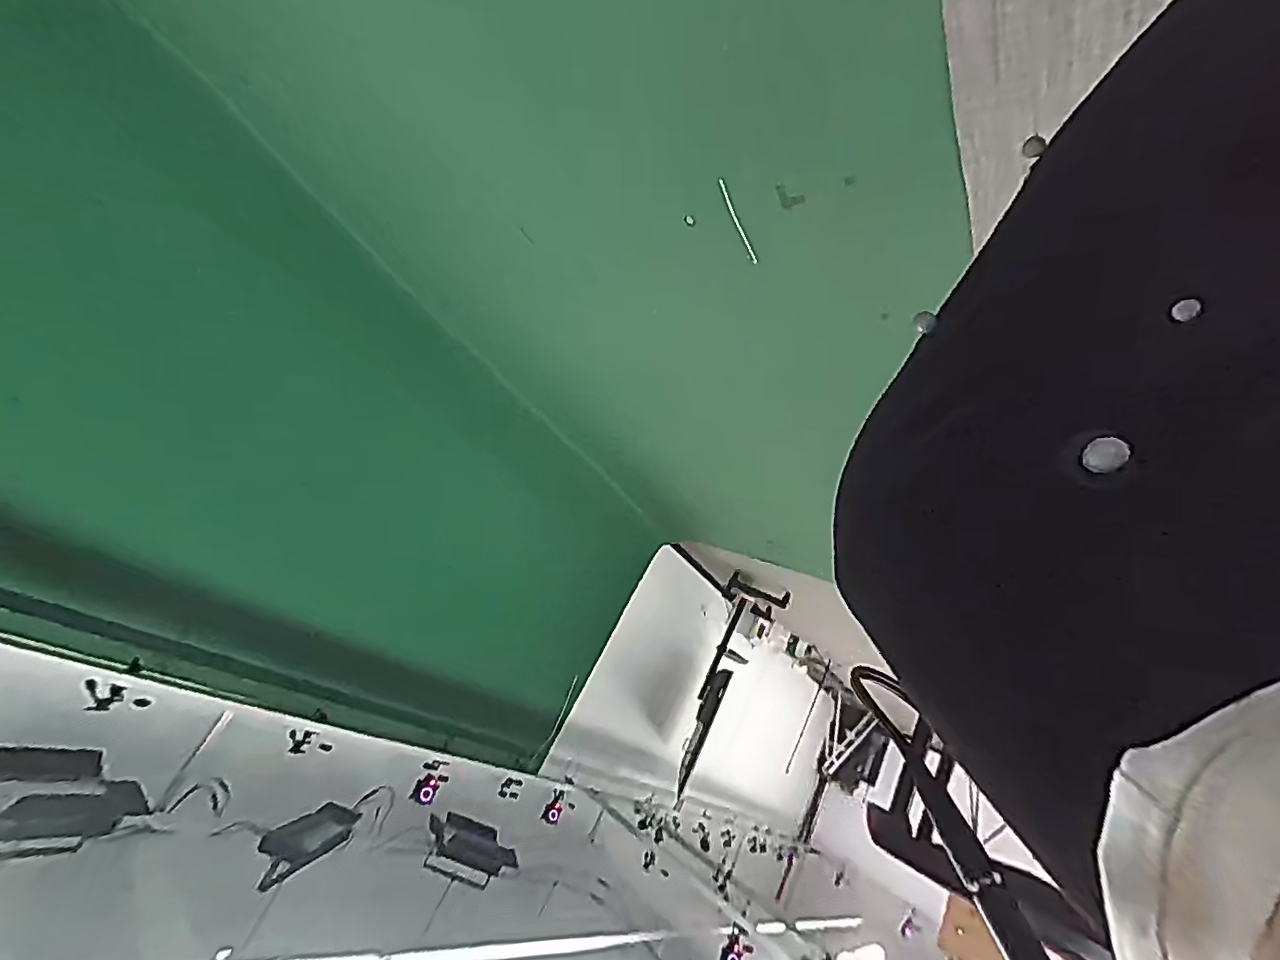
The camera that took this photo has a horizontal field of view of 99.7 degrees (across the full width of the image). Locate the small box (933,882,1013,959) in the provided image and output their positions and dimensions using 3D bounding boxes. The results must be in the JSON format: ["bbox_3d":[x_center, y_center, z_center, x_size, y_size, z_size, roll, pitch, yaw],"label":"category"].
[{"bbox_3d":[0.979,1.321,1.589,0.168,0.176,0.179,15,159,39],"label":"small box"}]
